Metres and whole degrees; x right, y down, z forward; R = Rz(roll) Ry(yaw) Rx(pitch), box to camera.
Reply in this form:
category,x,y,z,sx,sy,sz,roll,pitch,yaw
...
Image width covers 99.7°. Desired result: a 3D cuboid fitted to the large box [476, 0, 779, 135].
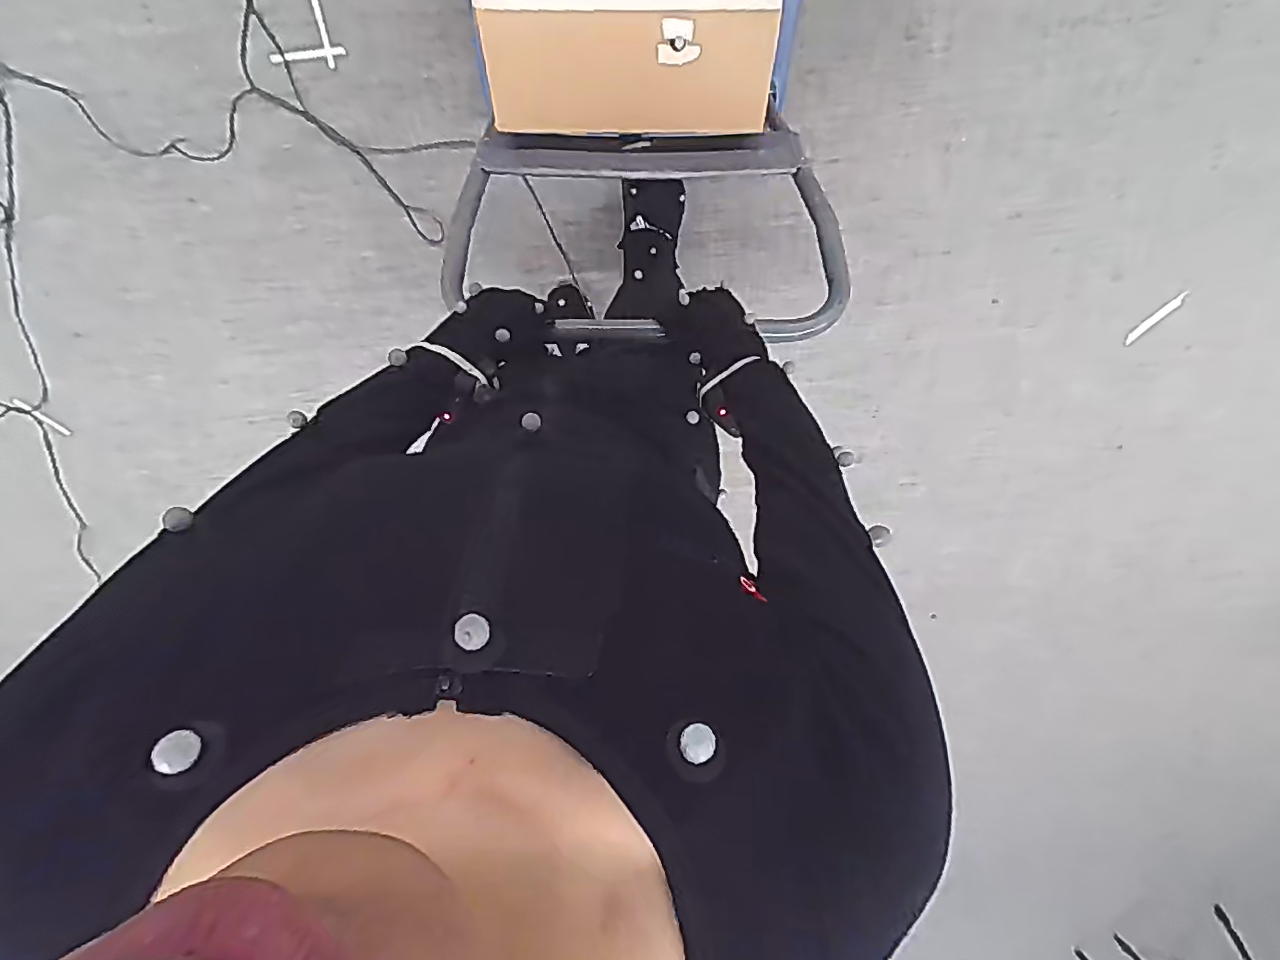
category,x,y,z,sx,sy,sz,roll,pitch,yaw
large box,-0.022,-0.737,0.796,0.408,0.320,0.320,-2,140,-2
